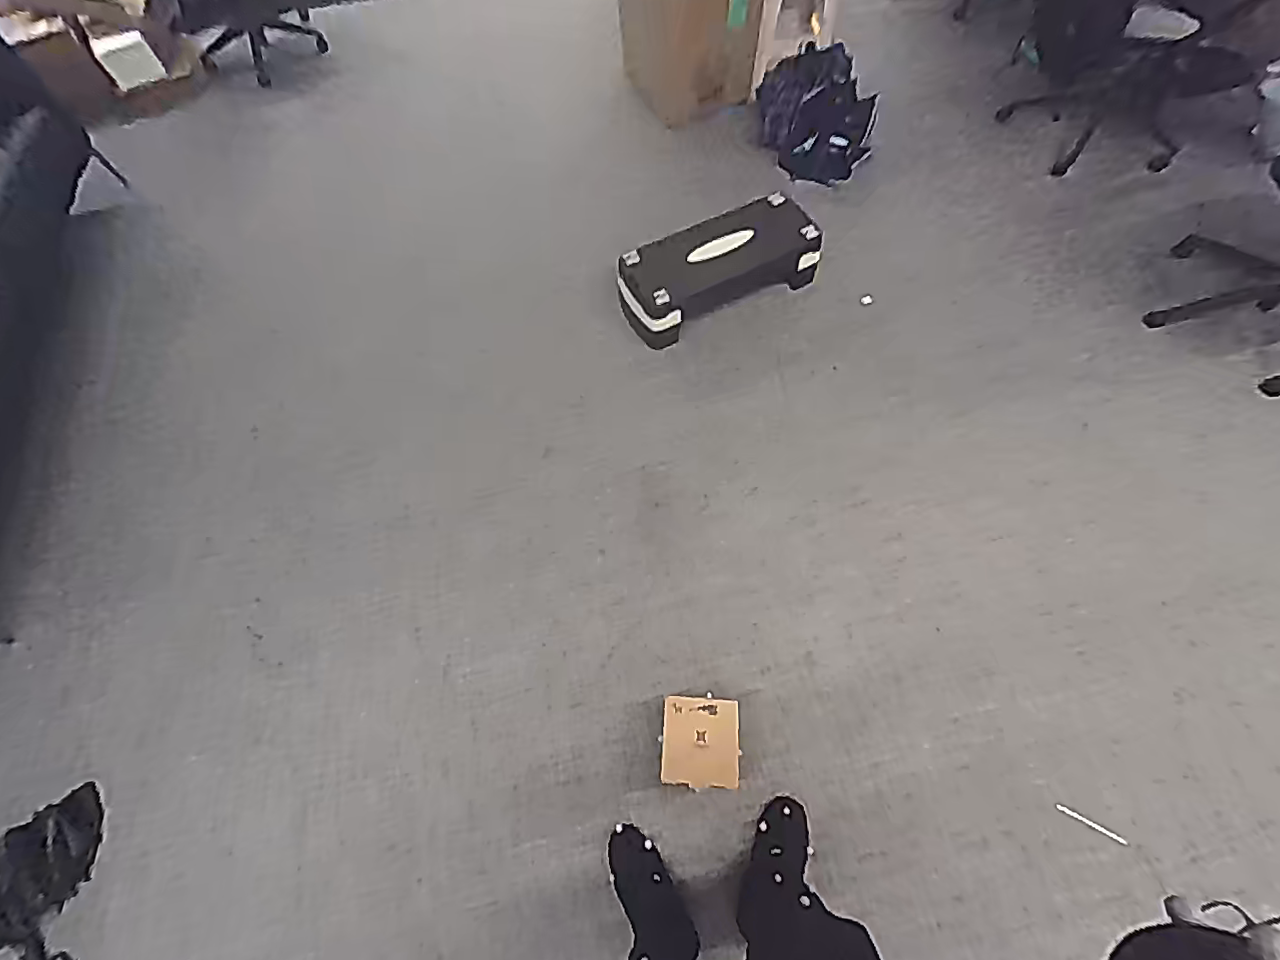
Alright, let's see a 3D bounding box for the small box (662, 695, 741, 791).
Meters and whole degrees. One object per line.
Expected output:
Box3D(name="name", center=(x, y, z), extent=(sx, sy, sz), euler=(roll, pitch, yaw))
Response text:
Box3D(name="small box", center=(0.143, 0.597, 1.238), extent=(0.168, 0.176, 0.179), euler=(2, 65, 6))
